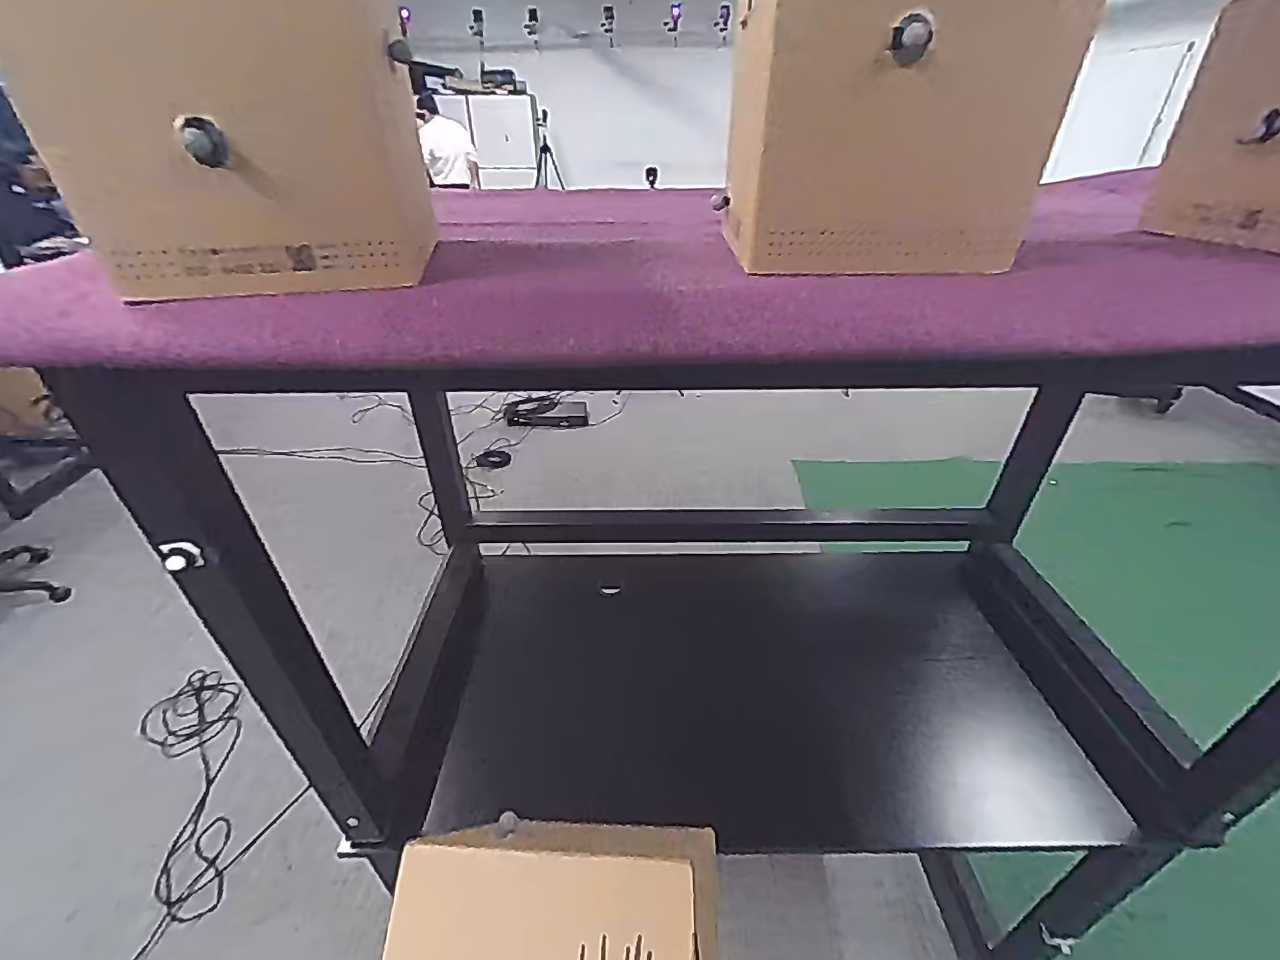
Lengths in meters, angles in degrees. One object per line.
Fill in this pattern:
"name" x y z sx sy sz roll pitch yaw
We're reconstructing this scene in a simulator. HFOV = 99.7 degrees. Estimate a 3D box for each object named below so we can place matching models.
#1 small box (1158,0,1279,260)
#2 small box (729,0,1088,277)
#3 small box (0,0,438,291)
"small box" 0.540 -0.257 0.391 0.179 0.176 0.168 -1 32 1
"small box" 0.160 -0.248 0.384 0.179 0.176 0.168 1 34 1
"small box" -0.236 -0.226 0.350 0.168 0.176 0.179 -6 35 -11
